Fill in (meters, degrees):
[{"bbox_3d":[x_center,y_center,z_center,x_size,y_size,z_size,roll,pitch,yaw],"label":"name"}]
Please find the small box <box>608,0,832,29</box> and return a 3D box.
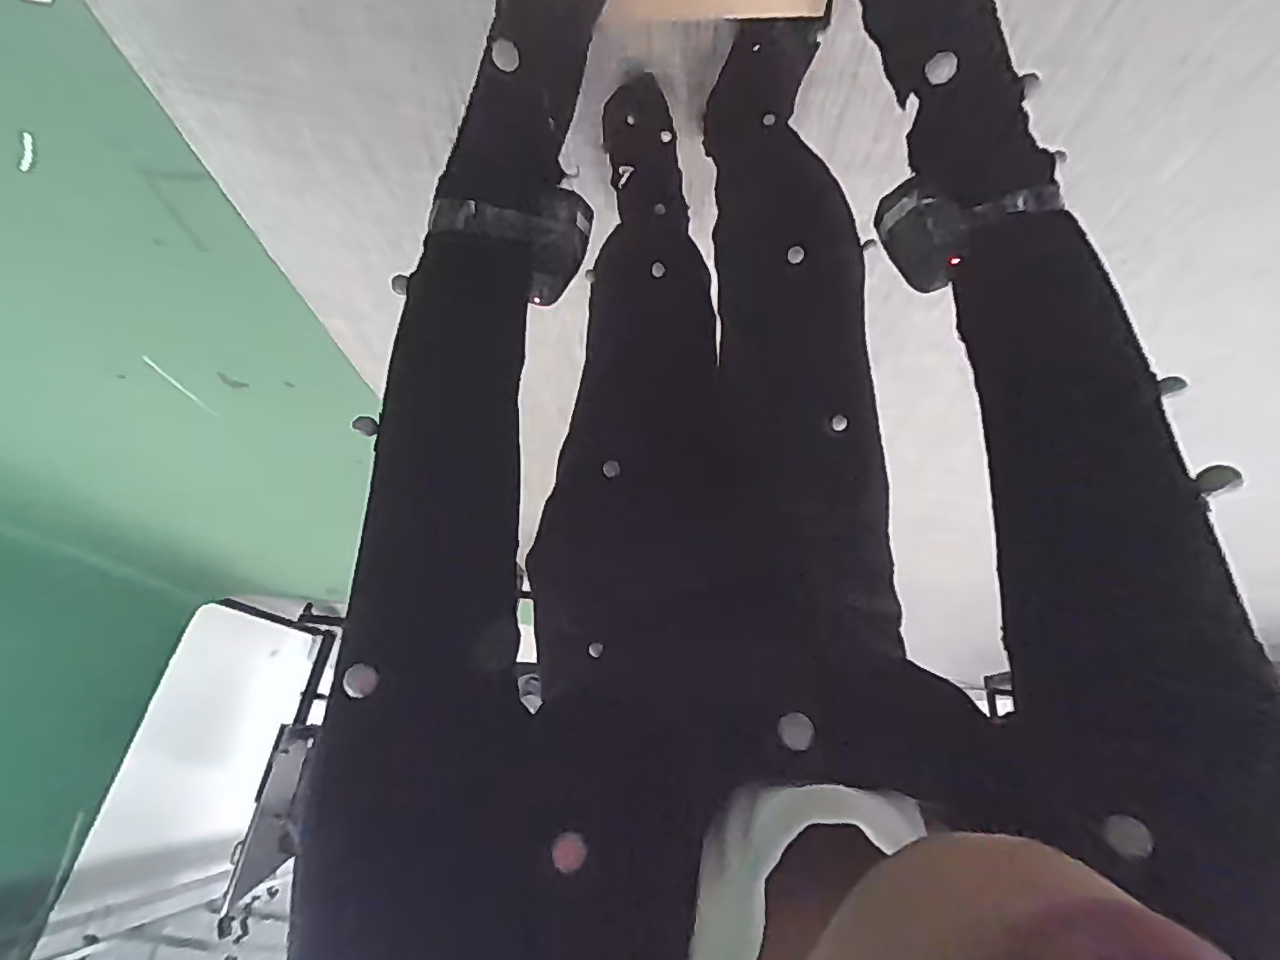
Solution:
[{"bbox_3d":[0.058,-0.451,0.362,0.168,0.176,0.179,2,155,5],"label":"small box"}]
